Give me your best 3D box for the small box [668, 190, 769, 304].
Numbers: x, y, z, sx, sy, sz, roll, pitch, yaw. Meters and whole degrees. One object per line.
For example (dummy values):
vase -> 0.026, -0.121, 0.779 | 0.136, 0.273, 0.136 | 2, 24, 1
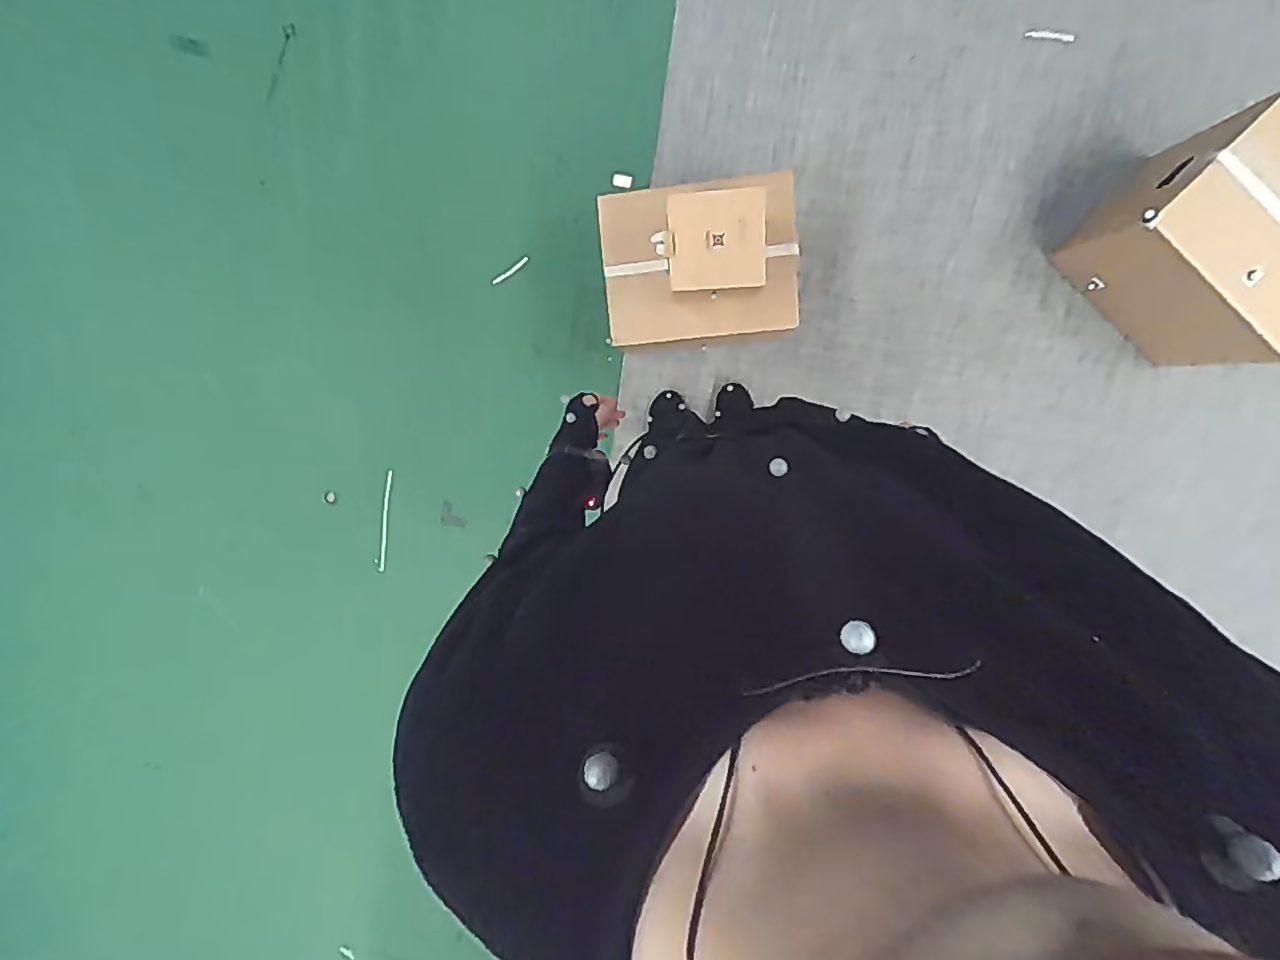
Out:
small box -> 0.149, -0.433, 1.032 | 0.179, 0.176, 0.168 | -1, 101, 6

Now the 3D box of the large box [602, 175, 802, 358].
large box -> 0.149, -0.472, 1.277 | 0.408, 0.320, 0.320 | -4, 98, 8
